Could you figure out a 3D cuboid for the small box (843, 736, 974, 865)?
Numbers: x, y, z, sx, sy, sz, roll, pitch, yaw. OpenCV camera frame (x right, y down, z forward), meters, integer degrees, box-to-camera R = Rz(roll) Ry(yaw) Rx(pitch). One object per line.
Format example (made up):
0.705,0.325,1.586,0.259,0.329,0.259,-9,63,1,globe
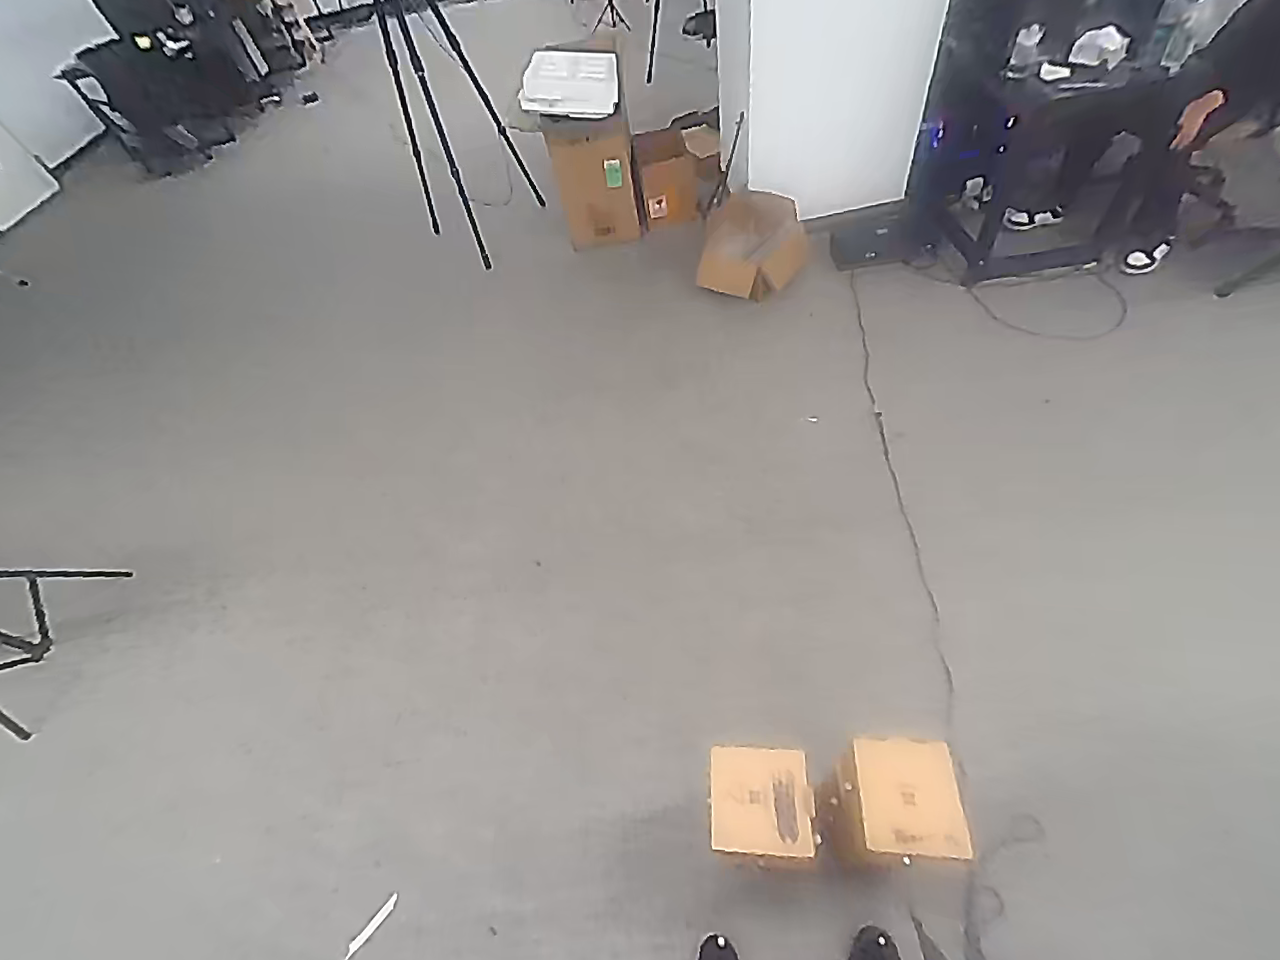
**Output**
0.479,0.591,0.998,0.168,0.176,0.179,-2,52,11,small box

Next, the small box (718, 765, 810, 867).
0.257,0.716,1.151,0.179,0.176,0.168,-2,53,10,small box

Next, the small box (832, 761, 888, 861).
0.508,0.688,1.128,0.179,0.176,0.168,-8,52,6,small box

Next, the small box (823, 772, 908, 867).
0.533,0.784,1.255,0.168,0.176,0.179,-9,52,6,small box
